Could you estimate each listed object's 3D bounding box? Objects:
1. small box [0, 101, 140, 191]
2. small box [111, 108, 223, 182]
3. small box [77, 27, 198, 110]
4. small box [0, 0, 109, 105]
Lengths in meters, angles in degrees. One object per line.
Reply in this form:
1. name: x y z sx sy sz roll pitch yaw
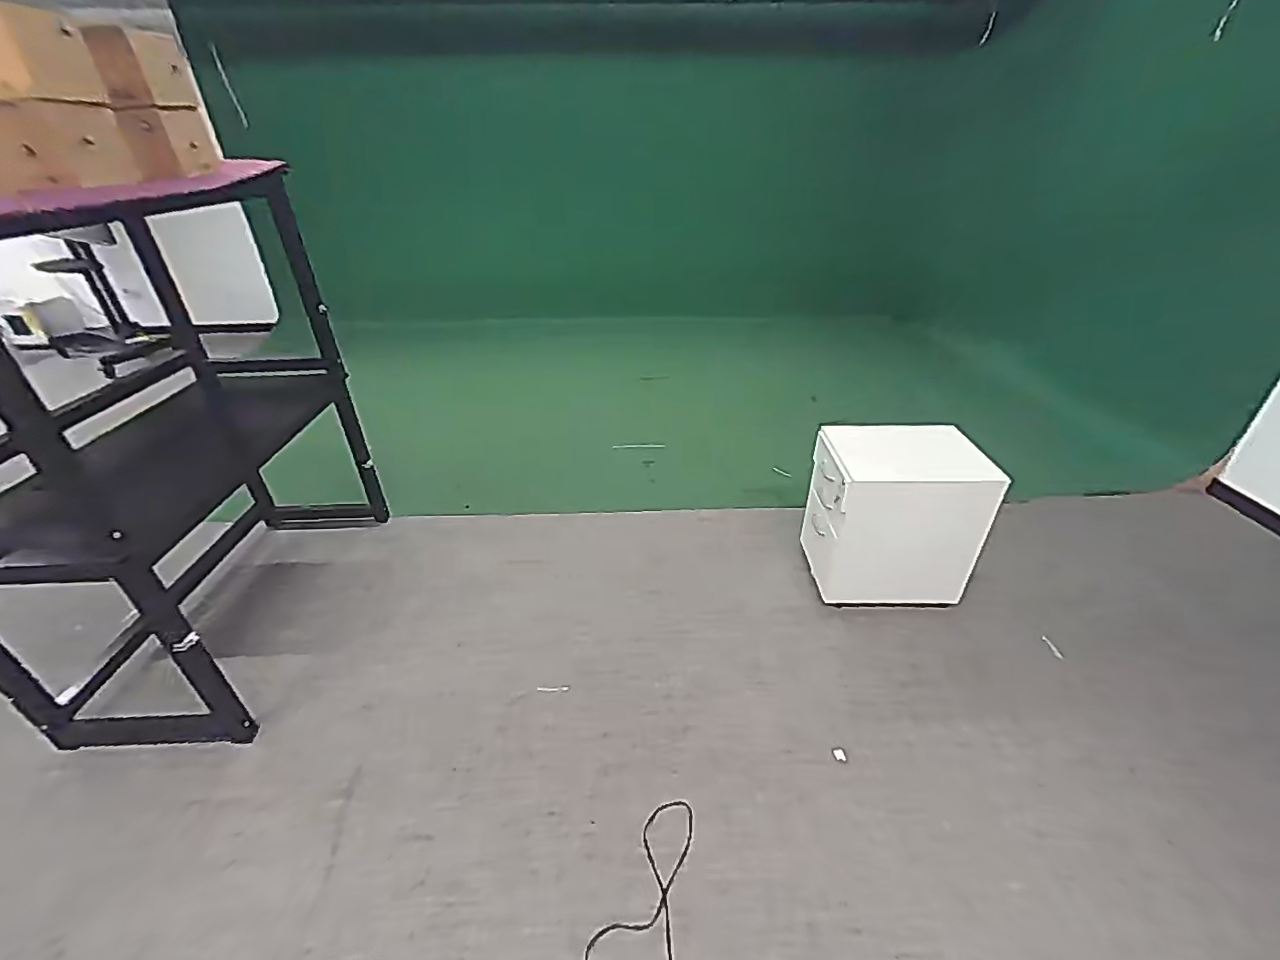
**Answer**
1. small box: -1.327 -0.768 1.248 0.168 0.176 0.179 0 33 0
2. small box: -1.345 -0.953 1.534 0.179 0.176 0.168 -2 33 1
3. small box: -1.336 -1.087 1.441 0.168 0.176 0.179 -3 35 1
4. small box: -1.324 -0.908 1.164 0.168 0.176 0.179 1 31 3
